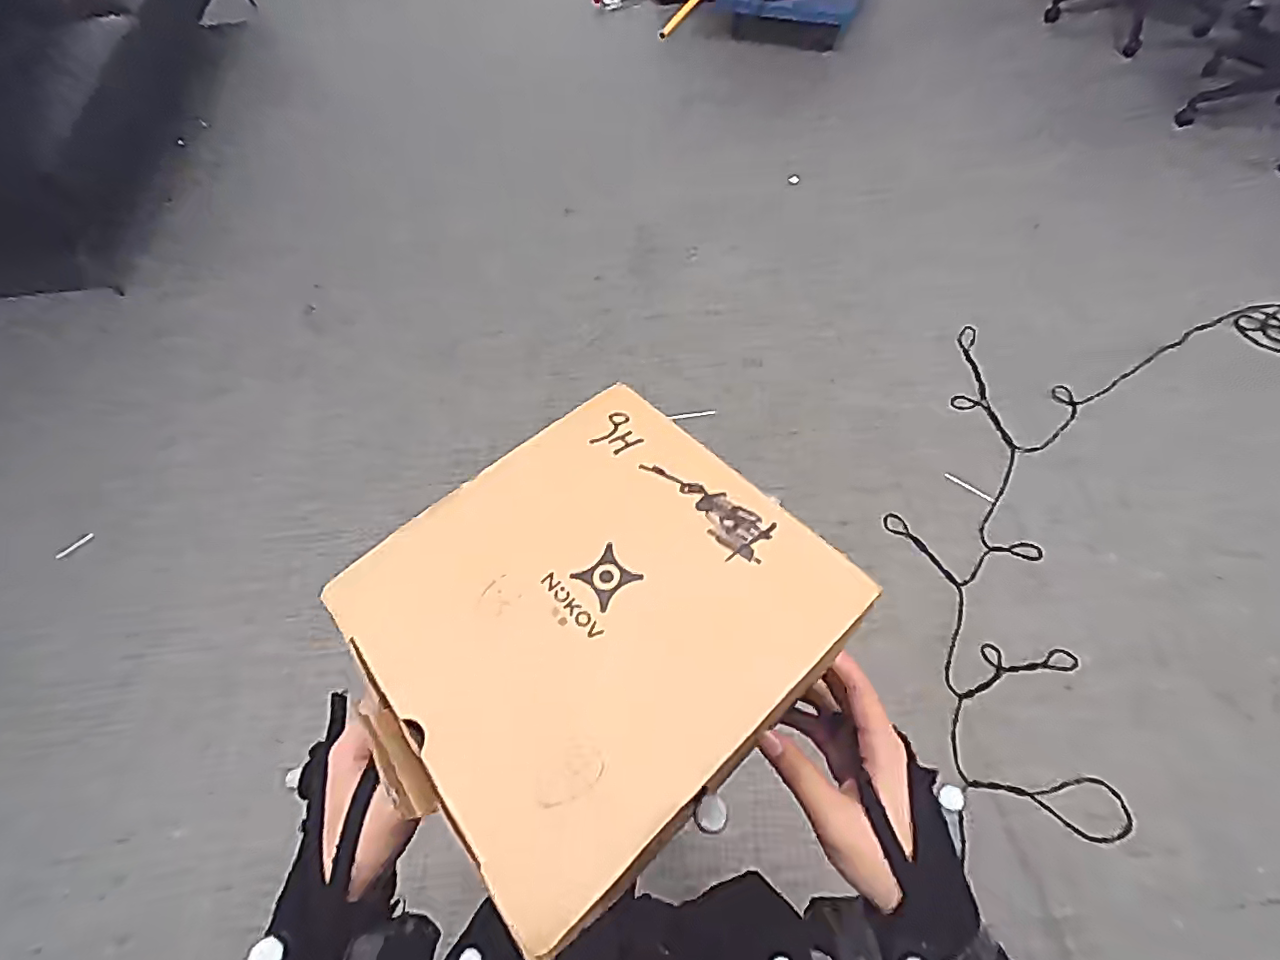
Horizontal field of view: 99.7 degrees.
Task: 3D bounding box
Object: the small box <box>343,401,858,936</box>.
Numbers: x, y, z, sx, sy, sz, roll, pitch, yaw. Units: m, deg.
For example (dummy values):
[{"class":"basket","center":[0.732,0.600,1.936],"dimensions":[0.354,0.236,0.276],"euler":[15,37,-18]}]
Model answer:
[{"class":"small box","center":[-0.014,0.097,0.304],"dimensions":[0.179,0.176,0.168],"euler":[-39,61,-19]}]
